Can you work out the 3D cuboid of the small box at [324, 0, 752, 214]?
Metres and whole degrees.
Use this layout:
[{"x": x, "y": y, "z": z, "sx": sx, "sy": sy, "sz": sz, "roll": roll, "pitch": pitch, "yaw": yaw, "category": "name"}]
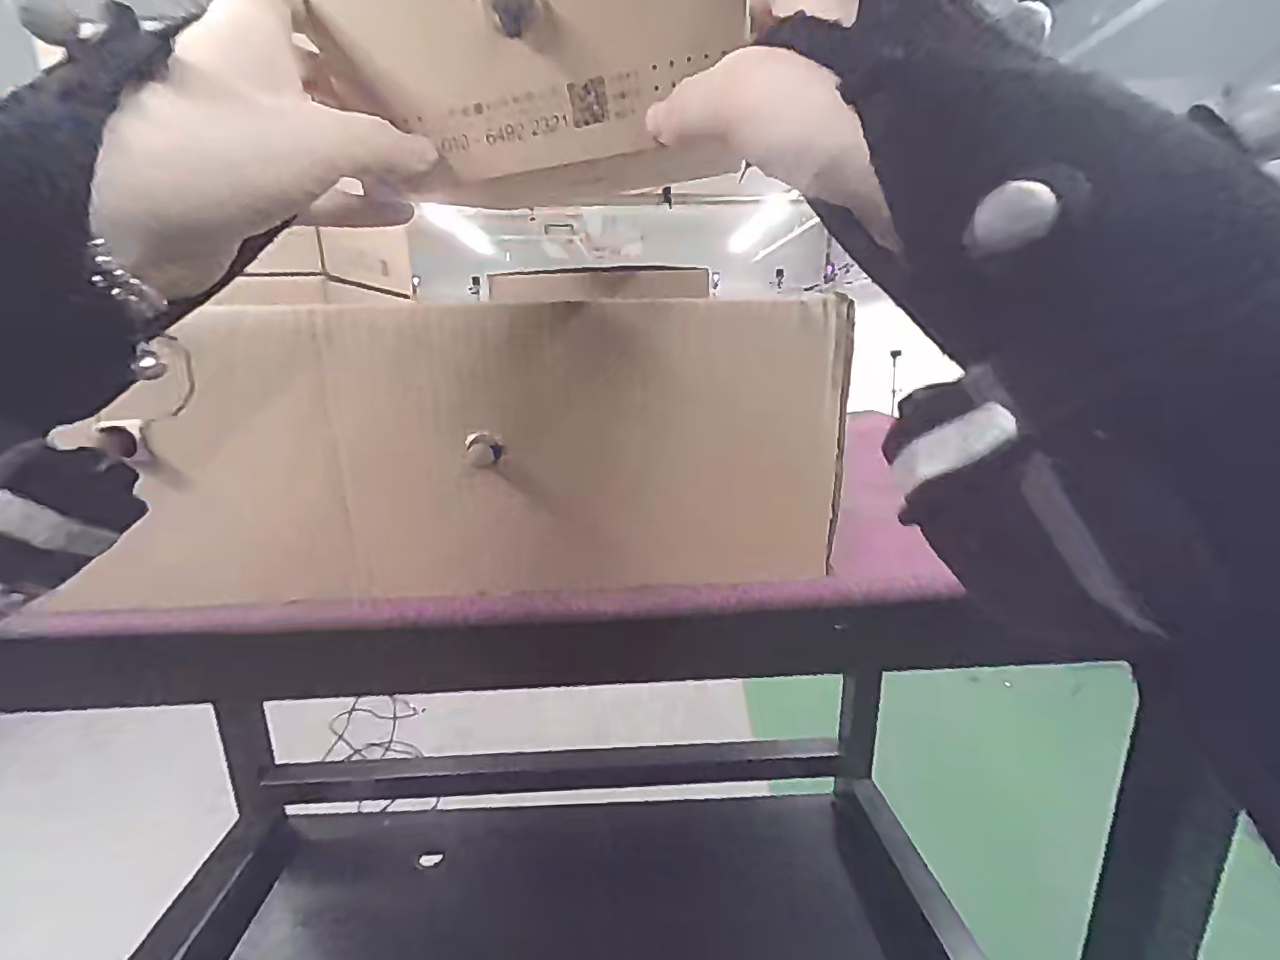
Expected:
[{"x": -0.036, "y": -0.230, "z": 0.259, "sx": 0.168, "sy": 0.176, "sz": 0.179, "roll": -4, "pitch": 25, "yaw": 12, "category": "small box"}]
